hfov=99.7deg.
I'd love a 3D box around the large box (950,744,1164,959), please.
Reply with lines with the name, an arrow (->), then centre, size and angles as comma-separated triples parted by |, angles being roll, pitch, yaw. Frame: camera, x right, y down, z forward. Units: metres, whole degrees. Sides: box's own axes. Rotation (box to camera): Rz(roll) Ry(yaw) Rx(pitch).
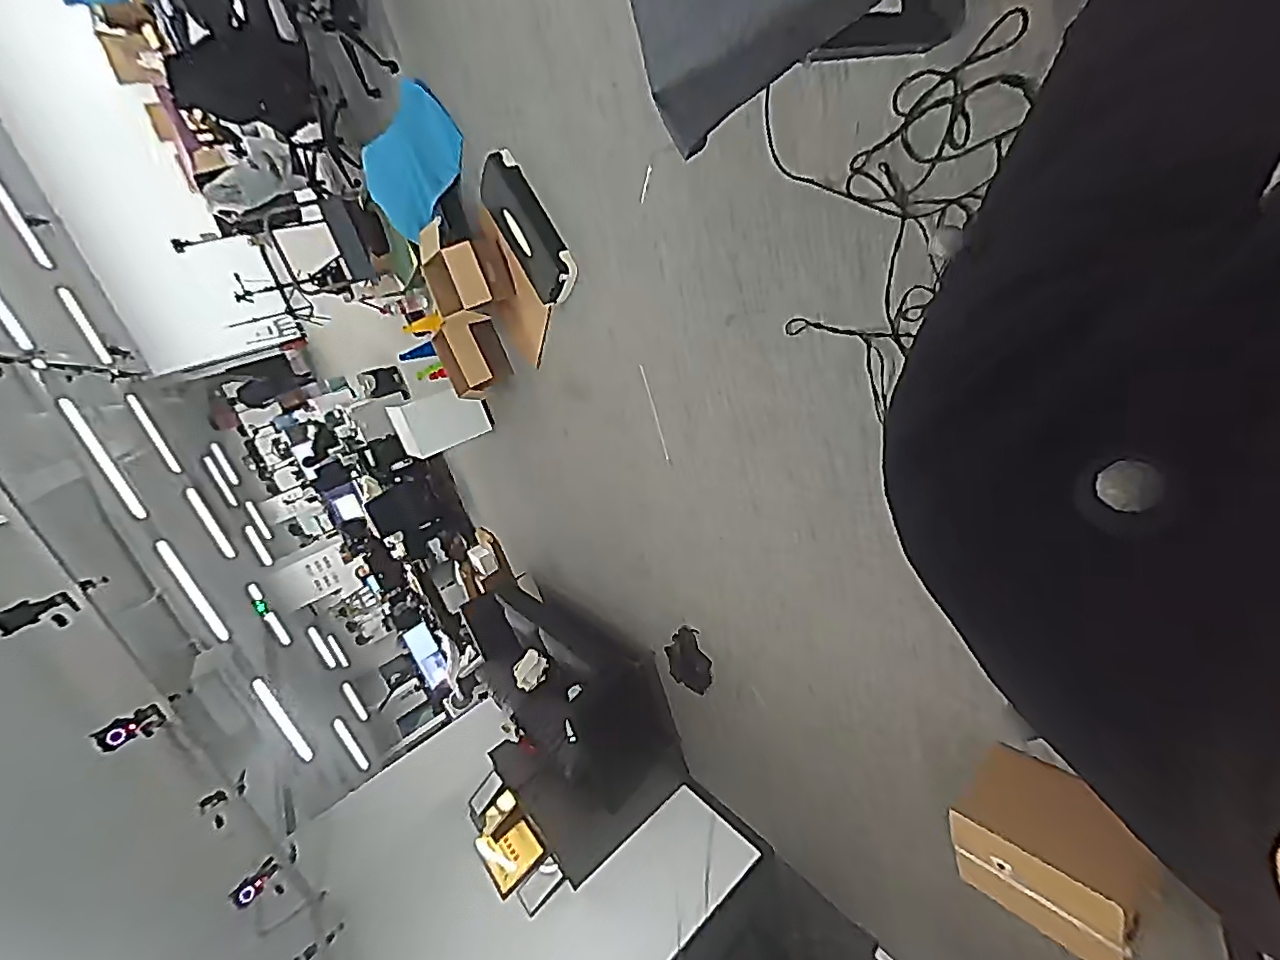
large box -> 1.187, 1.056, 1.549 | 0.408, 0.320, 0.320 | 12, 124, 56
